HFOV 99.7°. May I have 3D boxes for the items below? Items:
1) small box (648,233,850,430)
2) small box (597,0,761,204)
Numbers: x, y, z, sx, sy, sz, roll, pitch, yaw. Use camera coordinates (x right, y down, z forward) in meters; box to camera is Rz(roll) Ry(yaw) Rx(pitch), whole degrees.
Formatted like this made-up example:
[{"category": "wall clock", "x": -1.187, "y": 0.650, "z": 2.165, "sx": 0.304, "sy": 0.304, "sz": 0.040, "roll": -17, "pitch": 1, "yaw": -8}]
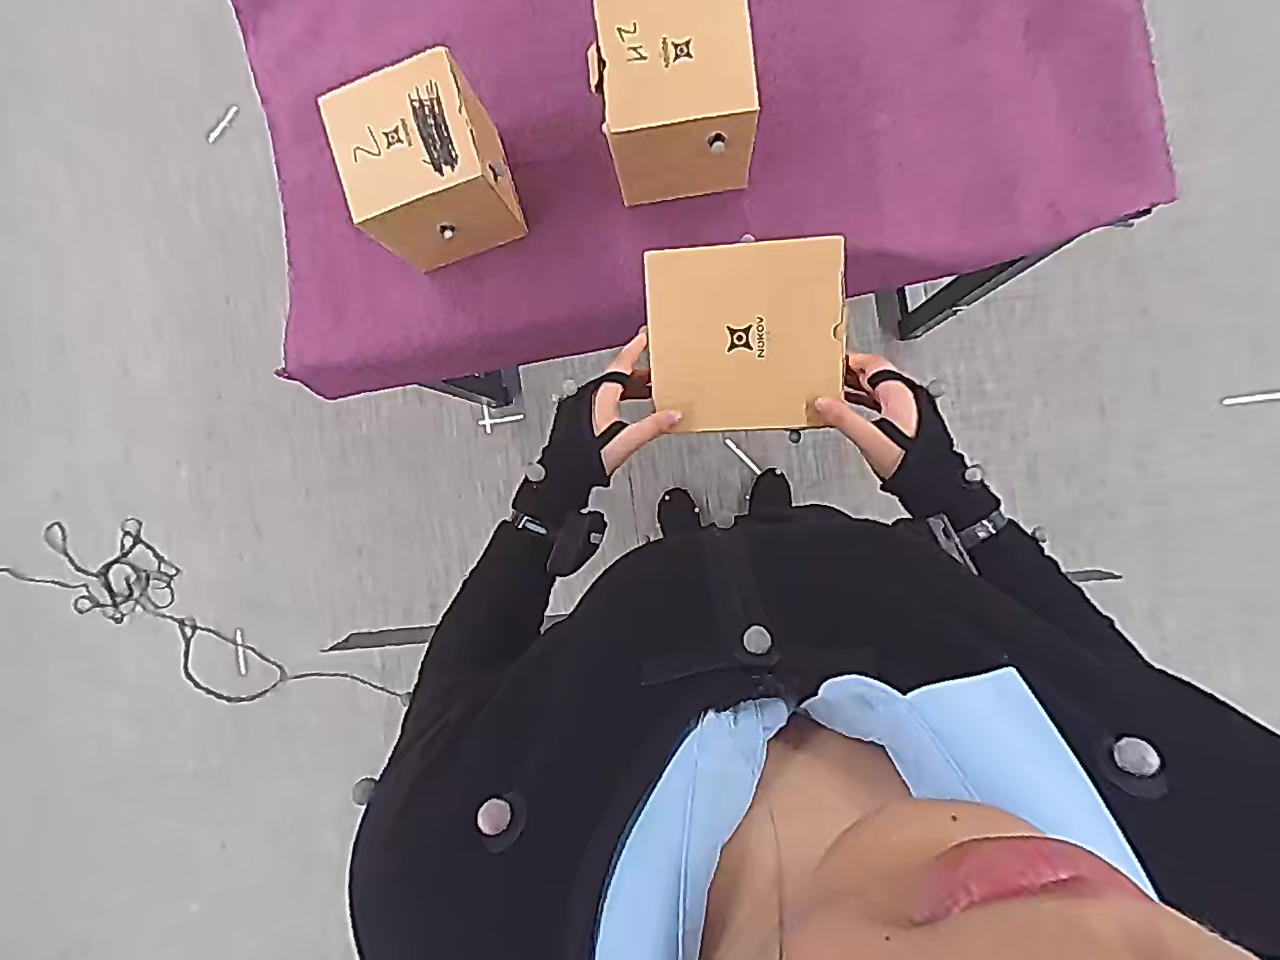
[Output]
[{"category": "small box", "x": 0.106, "y": -0.138, "z": 0.561, "sx": 0.179, "sy": 0.176, "sz": 0.168, "roll": -3, "pitch": 96, "yaw": 5}, {"category": "small box", "x": 0.051, "y": -0.483, "z": 0.693, "sx": 0.179, "sy": 0.176, "sz": 0.168, "roll": -6, "pitch": 89, "yaw": 7}]
